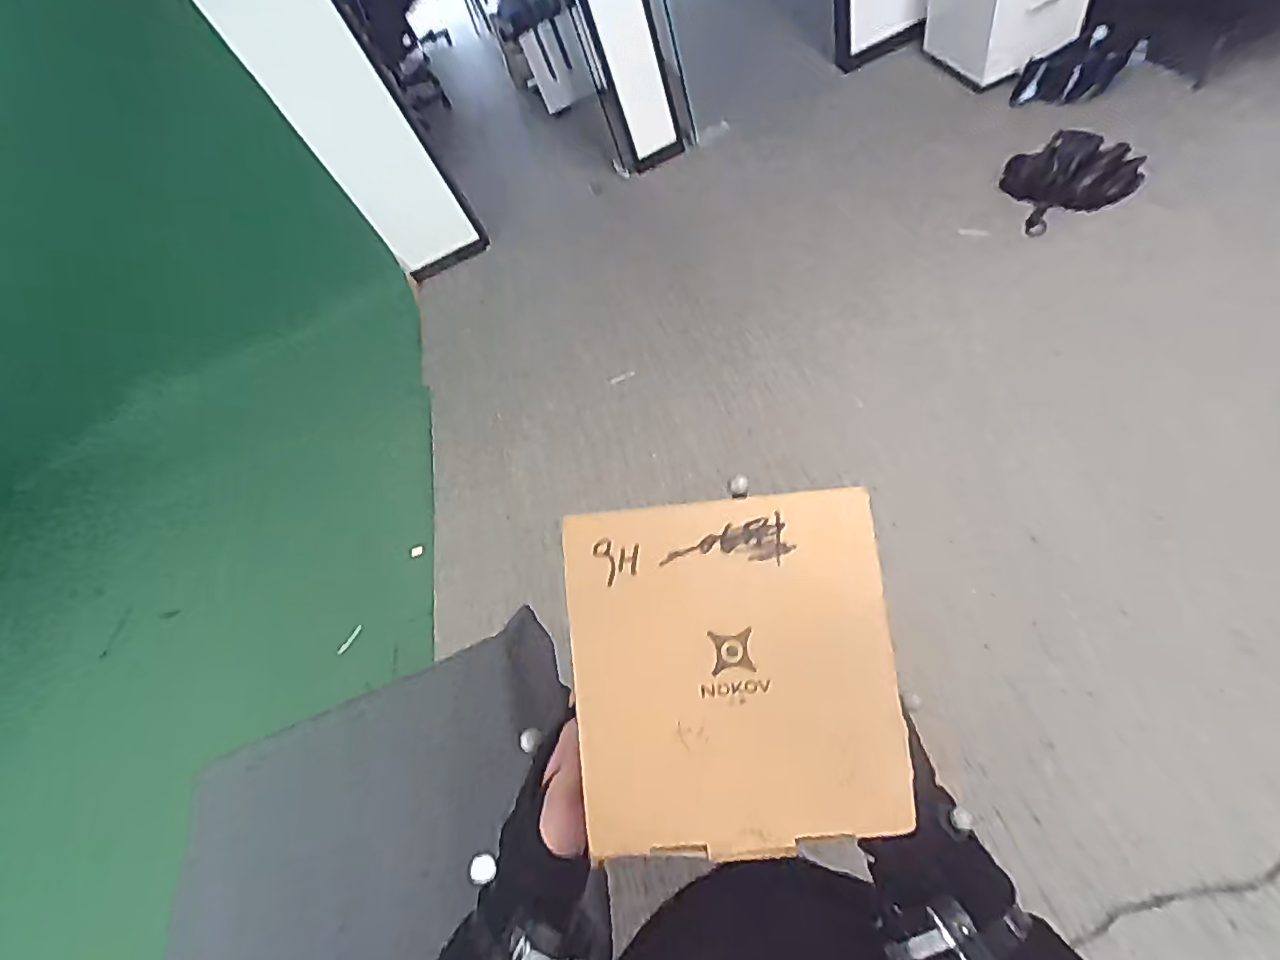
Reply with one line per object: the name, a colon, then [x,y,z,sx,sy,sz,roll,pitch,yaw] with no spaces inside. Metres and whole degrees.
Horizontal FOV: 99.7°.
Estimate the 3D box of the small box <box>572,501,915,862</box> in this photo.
small box: [0.053,0.108,0.359,0.168,0.176,0.179,-5,85,0]
